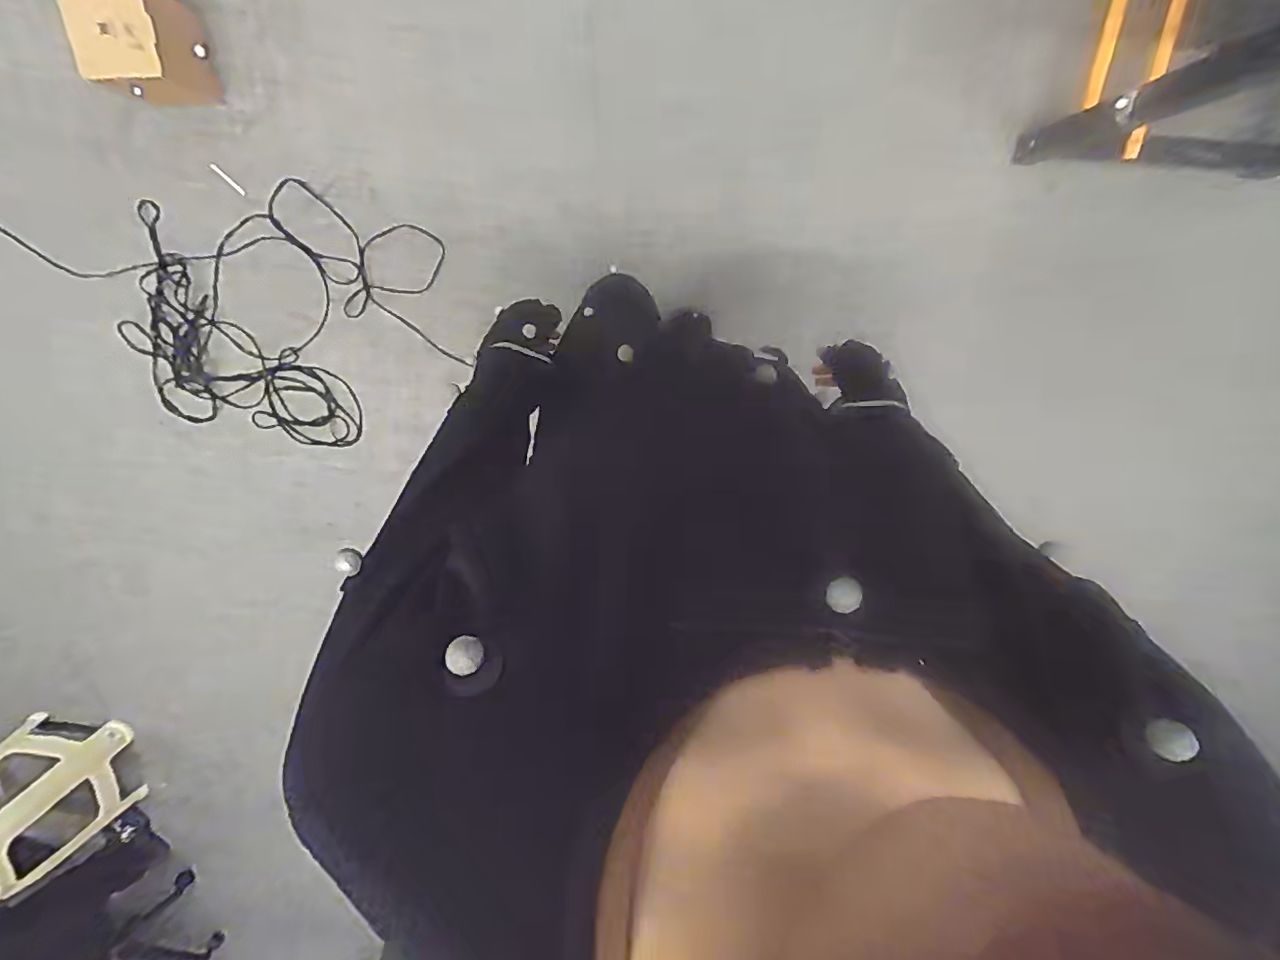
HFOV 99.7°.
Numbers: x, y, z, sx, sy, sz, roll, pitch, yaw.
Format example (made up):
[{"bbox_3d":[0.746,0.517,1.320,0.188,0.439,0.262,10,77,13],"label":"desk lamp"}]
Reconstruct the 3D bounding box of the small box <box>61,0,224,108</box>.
[{"bbox_3d":[-1.046,-0.913,1.151,0.179,0.176,0.168,-1,109,2],"label":"small box"}]
